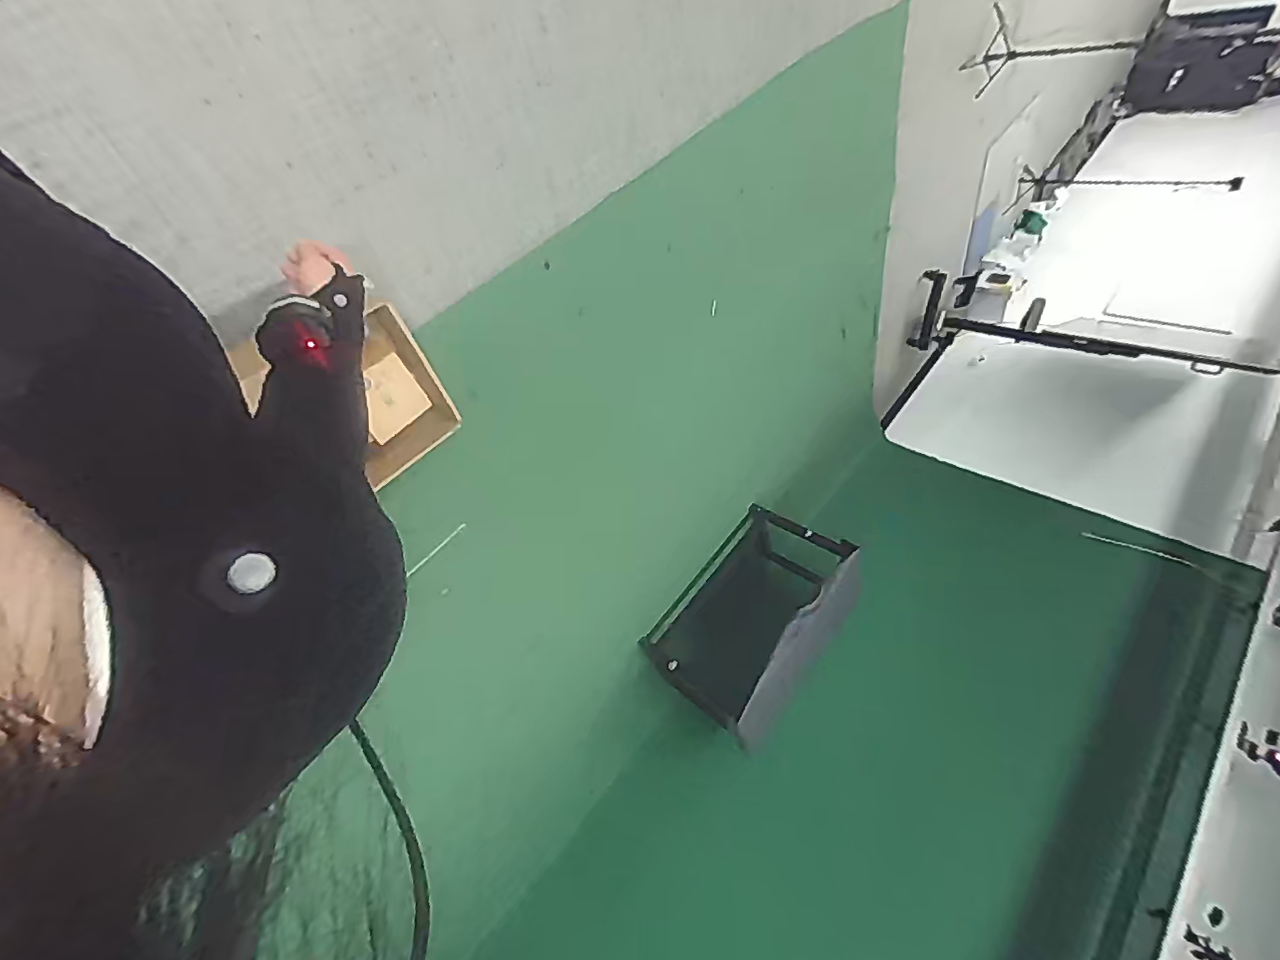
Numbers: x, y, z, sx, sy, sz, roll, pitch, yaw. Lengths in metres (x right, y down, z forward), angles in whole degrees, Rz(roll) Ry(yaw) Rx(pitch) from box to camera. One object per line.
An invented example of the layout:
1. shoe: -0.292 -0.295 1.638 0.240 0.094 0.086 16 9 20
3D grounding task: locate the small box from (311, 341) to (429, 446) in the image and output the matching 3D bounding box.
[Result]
1. small box: -0.673 -0.221 1.353 0.168 0.176 0.179 -46 140 -22
